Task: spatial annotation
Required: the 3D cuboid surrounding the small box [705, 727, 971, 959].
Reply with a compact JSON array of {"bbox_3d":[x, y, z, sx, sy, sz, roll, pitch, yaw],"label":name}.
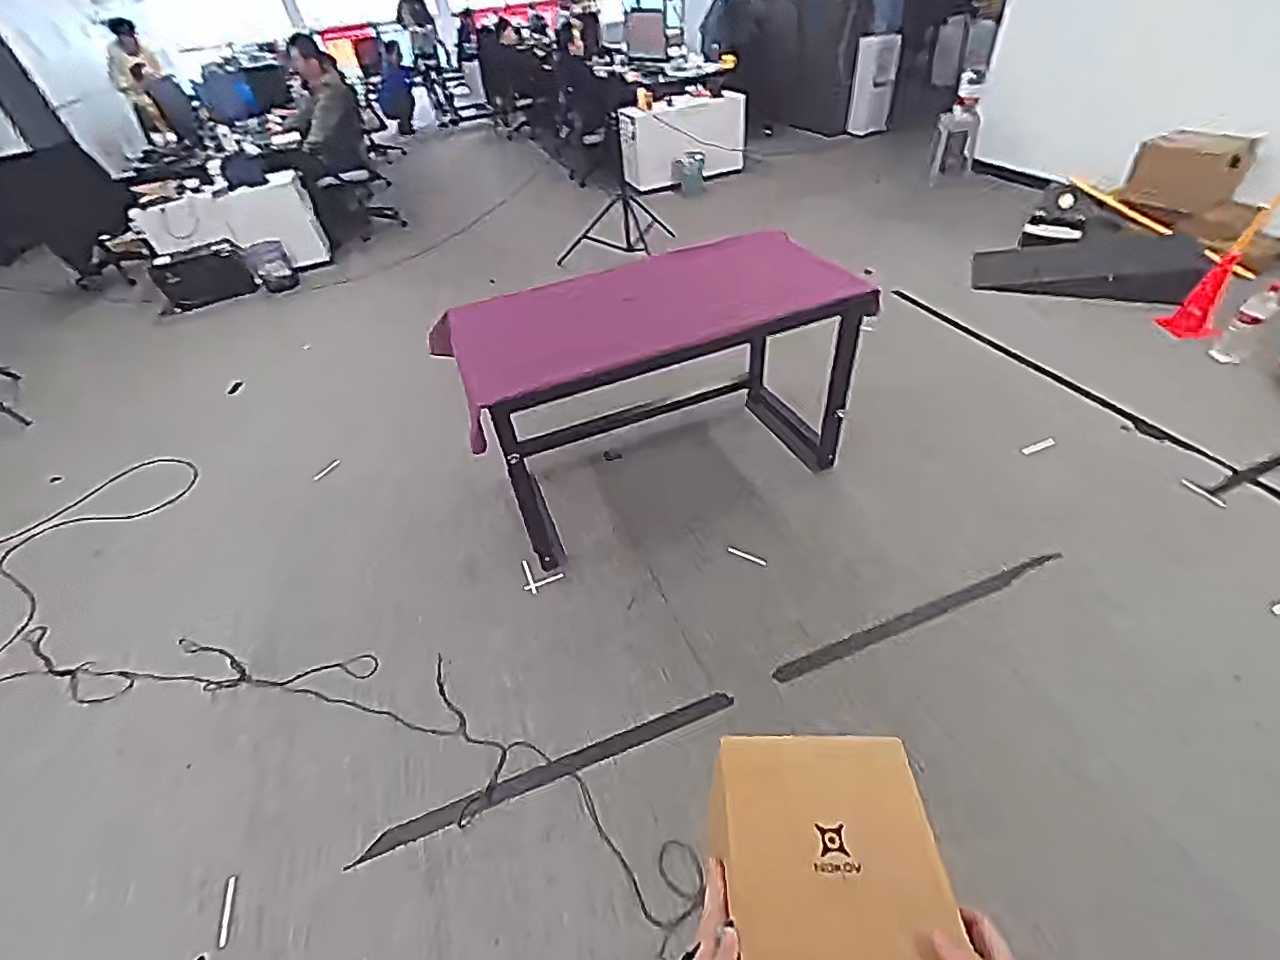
[{"bbox_3d":[0.151,0.346,0.485,0.168,0.176,0.179,0,42,1],"label":"small box"}]
